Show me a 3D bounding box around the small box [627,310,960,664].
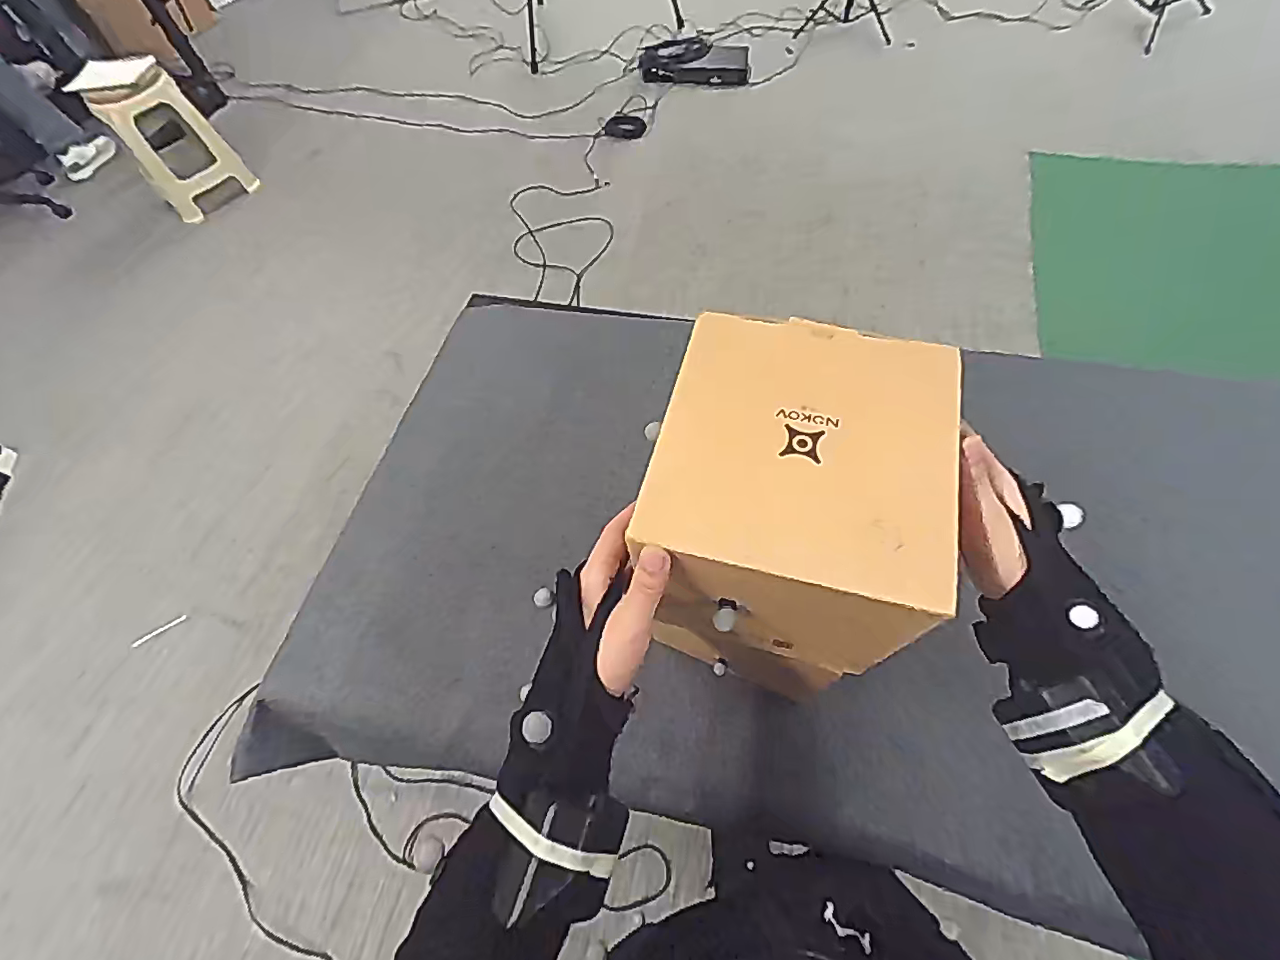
[{"bbox_3d":[0.101,0.013,0.380,0.168,0.176,0.179,12,62,12],"label":"small box"}]
